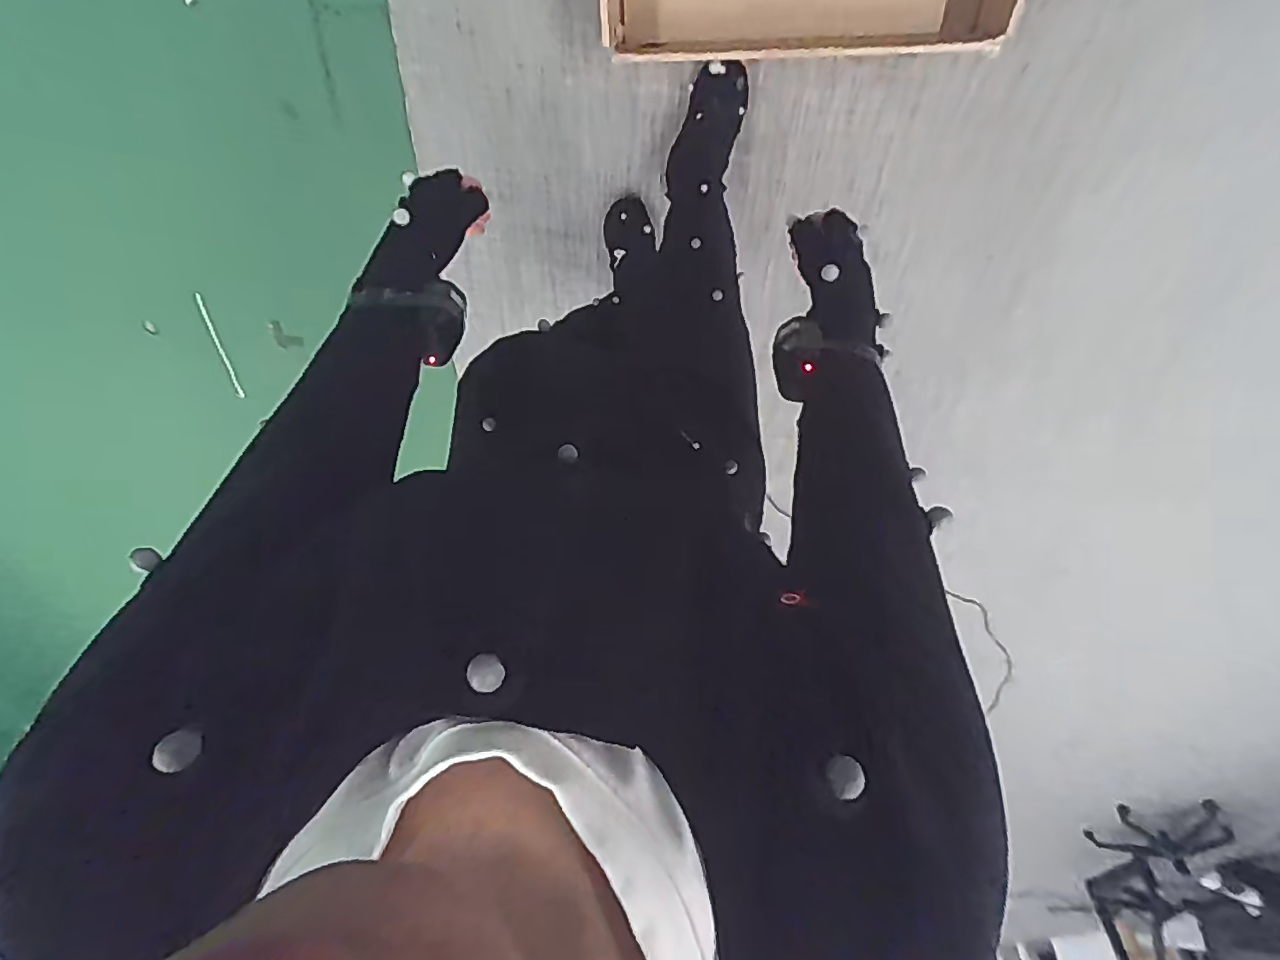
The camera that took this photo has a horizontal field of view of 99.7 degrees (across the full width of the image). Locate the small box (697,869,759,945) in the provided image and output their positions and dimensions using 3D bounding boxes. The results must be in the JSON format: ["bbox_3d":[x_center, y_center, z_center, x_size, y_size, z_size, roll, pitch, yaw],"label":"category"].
[{"bbox_3d":[0.297,1.461,1.853,0.179,0.176,0.168,9,130,1],"label":"small box"}]
